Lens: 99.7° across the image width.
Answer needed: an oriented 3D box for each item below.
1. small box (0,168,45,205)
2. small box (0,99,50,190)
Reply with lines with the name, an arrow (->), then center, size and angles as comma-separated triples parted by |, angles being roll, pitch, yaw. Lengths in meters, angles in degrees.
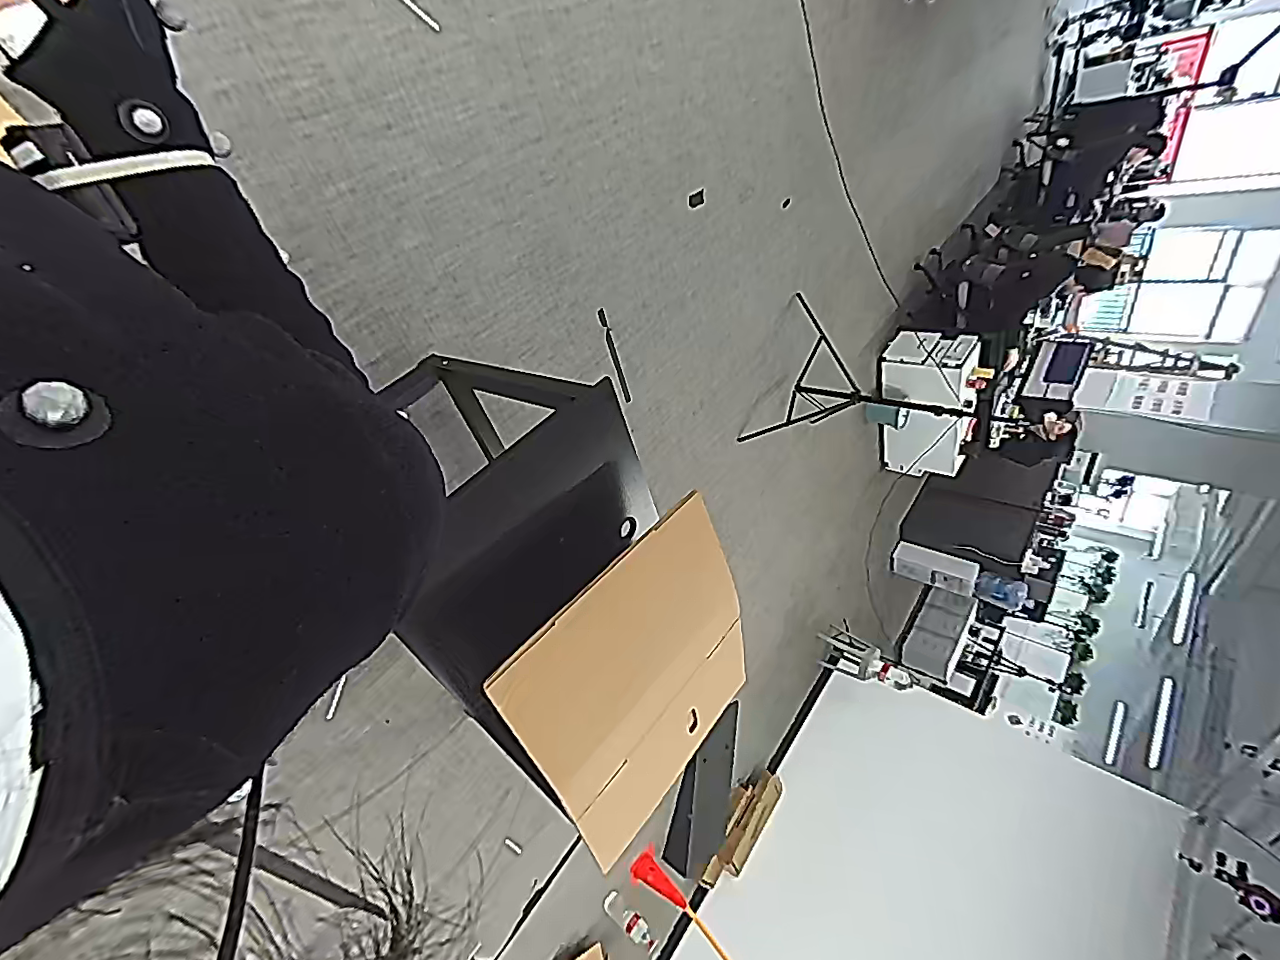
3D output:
small box -> -1.088, -0.506, 0.826 | 0.179, 0.176, 0.168 | -48, 135, -26
small box -> -0.965, -0.473, 0.726 | 0.179, 0.176, 0.168 | -52, 137, -25
